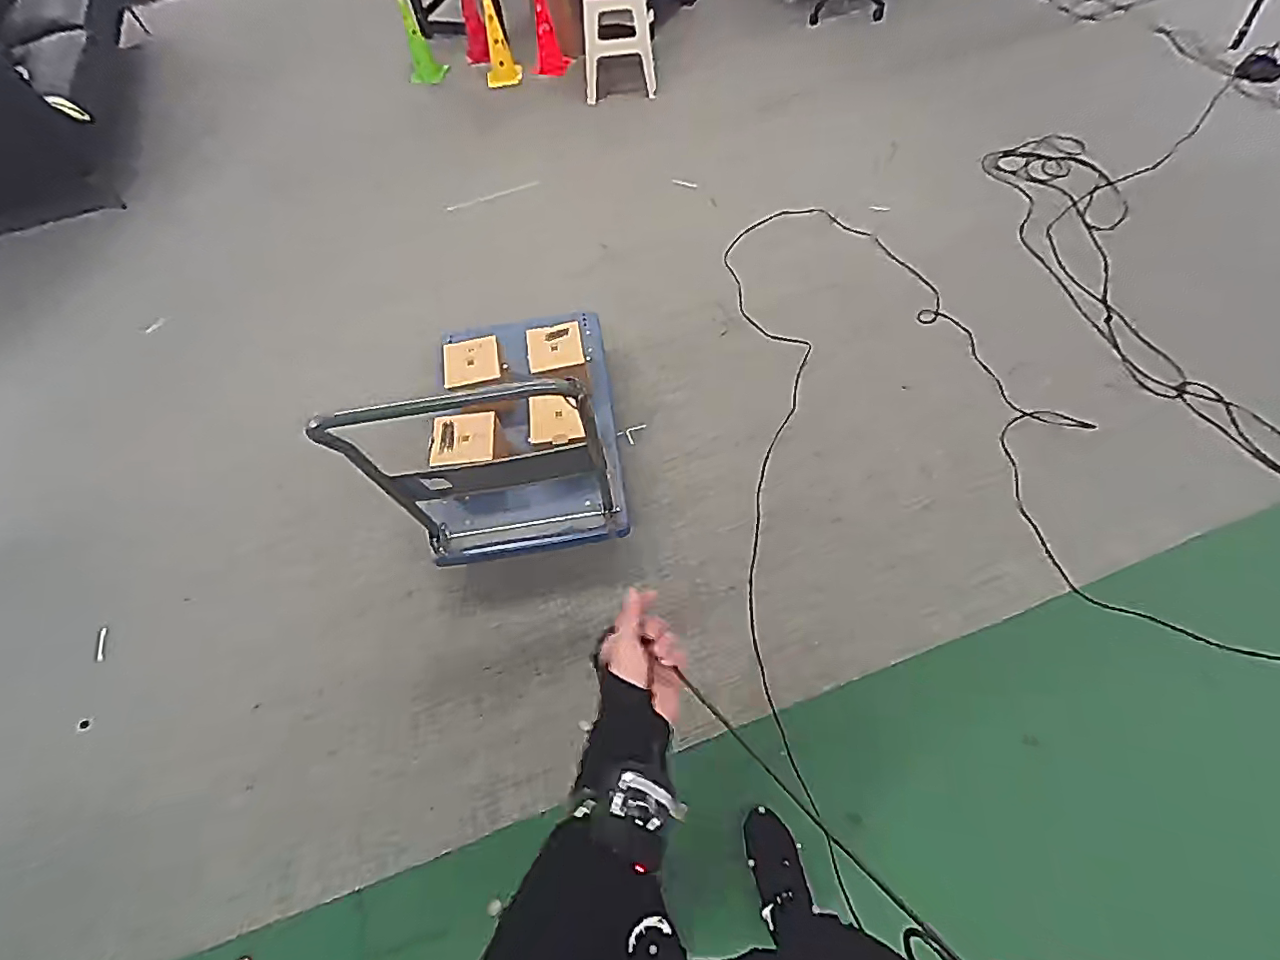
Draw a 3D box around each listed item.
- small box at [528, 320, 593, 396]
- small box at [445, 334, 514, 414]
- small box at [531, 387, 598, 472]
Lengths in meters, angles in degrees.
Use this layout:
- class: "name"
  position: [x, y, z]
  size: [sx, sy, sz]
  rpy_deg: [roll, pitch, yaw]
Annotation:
- class: "small box"
  position: [-0.248, -0.371, 1.703]
  size: [0.168, 0.176, 0.179]
  rpy_deg: [-11, 62, -1]
- class: "small box"
  position: [-0.501, -0.325, 1.698]
  size: [0.168, 0.176, 0.179]
  rpy_deg: [-12, 61, -3]
- class: "small box"
  position: [-0.219, -0.145, 1.582]
  size: [0.168, 0.176, 0.179]
  rpy_deg: [-8, 62, 0]
